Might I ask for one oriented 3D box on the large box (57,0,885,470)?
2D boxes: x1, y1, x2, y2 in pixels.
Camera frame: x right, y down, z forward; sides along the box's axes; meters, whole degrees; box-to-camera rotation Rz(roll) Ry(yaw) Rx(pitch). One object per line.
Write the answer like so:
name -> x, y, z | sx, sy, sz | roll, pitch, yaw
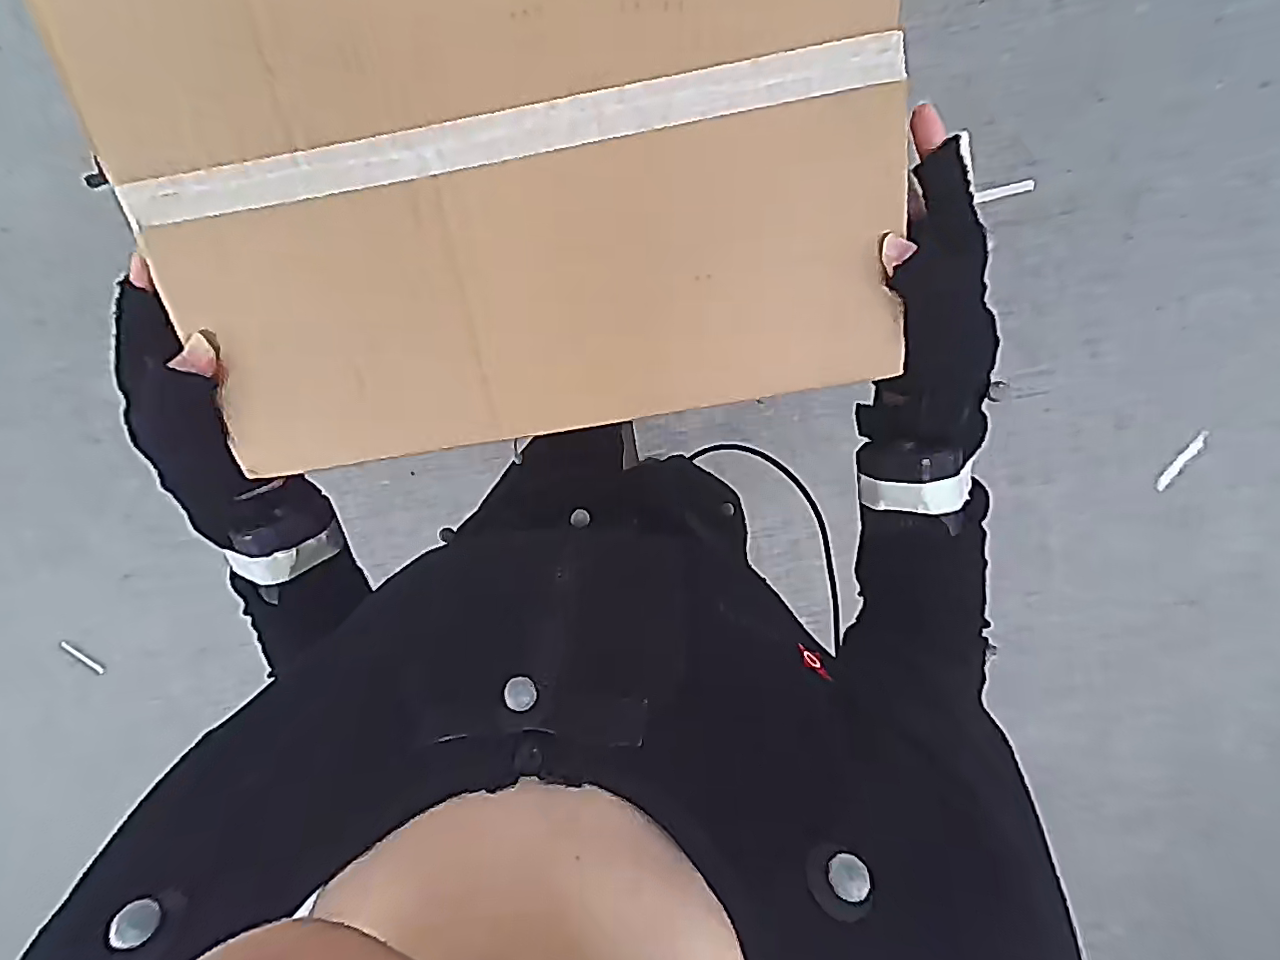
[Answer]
large box -> -0.072, -0.232, 0.424 | 0.408, 0.320, 0.320 | -9, 110, 3
